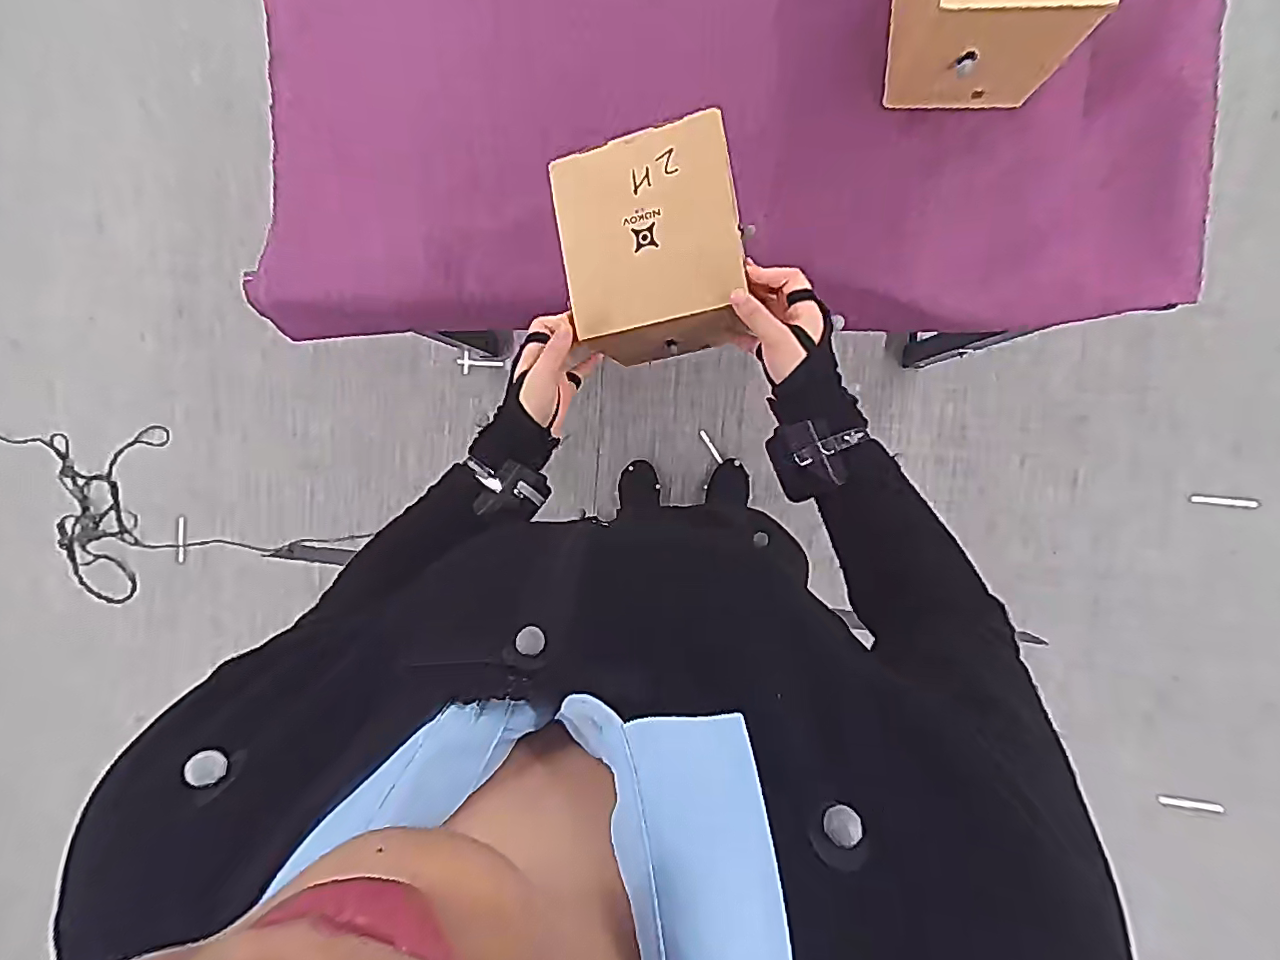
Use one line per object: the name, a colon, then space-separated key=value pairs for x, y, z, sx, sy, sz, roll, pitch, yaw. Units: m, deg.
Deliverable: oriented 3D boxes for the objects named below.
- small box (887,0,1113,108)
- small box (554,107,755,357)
small box: x=0.390 y=-0.550 z=0.603 sx=0.168 sy=0.176 sz=0.179 roll=4 pitch=94 yaw=6
small box: x=0.027 y=-0.236 z=0.572 sx=0.168 sy=0.176 sz=0.179 roll=-8 pitch=90 yaw=13
